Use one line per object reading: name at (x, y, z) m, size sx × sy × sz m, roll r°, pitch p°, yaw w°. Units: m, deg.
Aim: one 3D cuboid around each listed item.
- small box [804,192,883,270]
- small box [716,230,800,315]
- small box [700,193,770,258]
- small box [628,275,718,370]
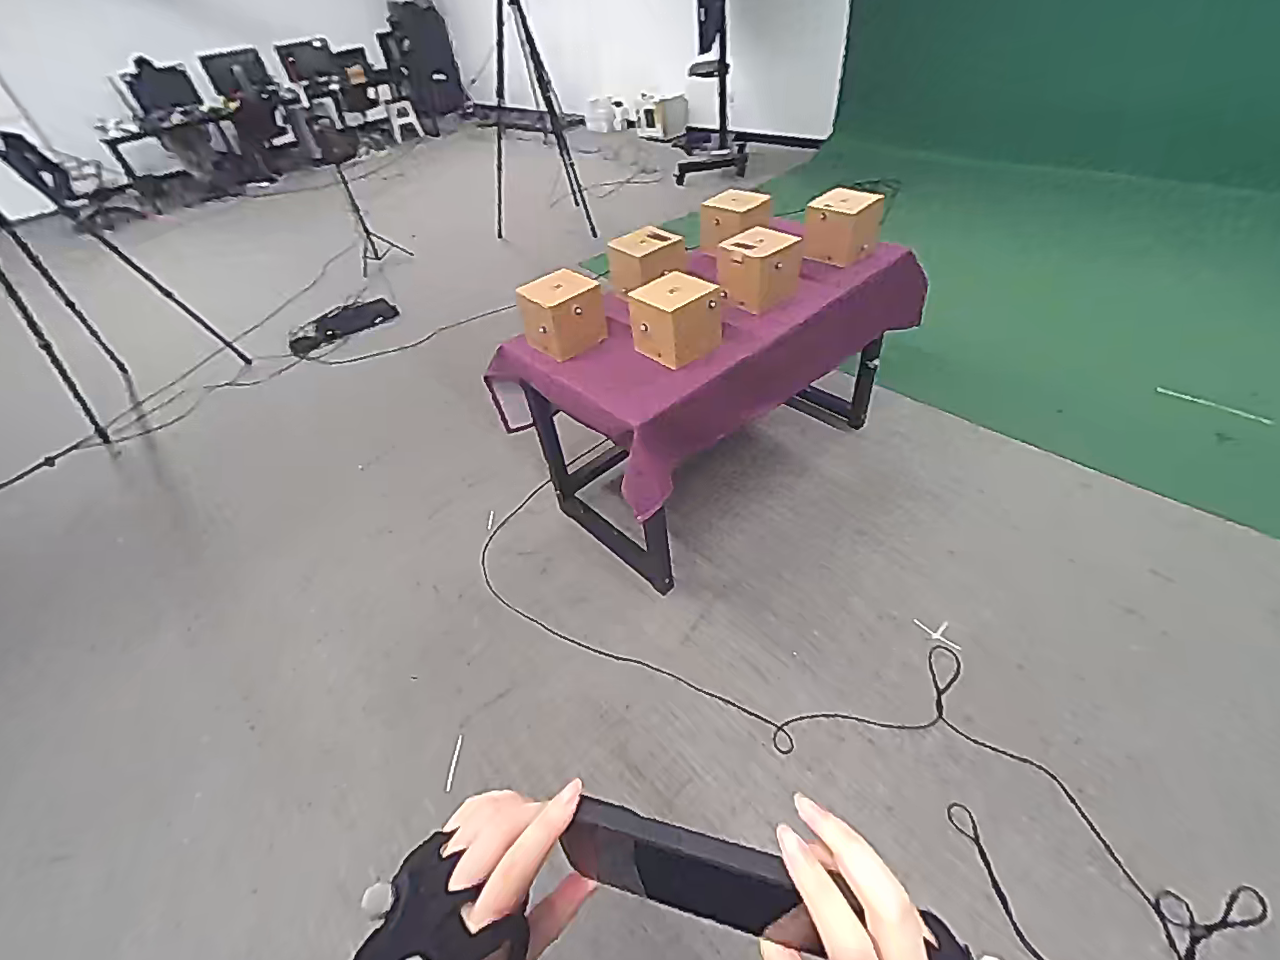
small box at (0.645, -0.800, 1.736) m, size 0.179 × 0.176 × 0.168 m, roll -36°, pitch 50°, yaw -26°
small box at (0.344, -0.605, 1.583) m, size 0.179 × 0.176 × 0.168 m, roll -32°, pitch 48°, yaw -24°
small box at (0.323, -0.857, 1.846) m, size 0.168 × 0.176 × 0.179 m, roll -38°, pitch 51°, yaw -26°
small box at (0.093, -0.413, 1.424) m, size 0.179 × 0.176 × 0.168 m, roll -33°, pitch 49°, yaw -25°
